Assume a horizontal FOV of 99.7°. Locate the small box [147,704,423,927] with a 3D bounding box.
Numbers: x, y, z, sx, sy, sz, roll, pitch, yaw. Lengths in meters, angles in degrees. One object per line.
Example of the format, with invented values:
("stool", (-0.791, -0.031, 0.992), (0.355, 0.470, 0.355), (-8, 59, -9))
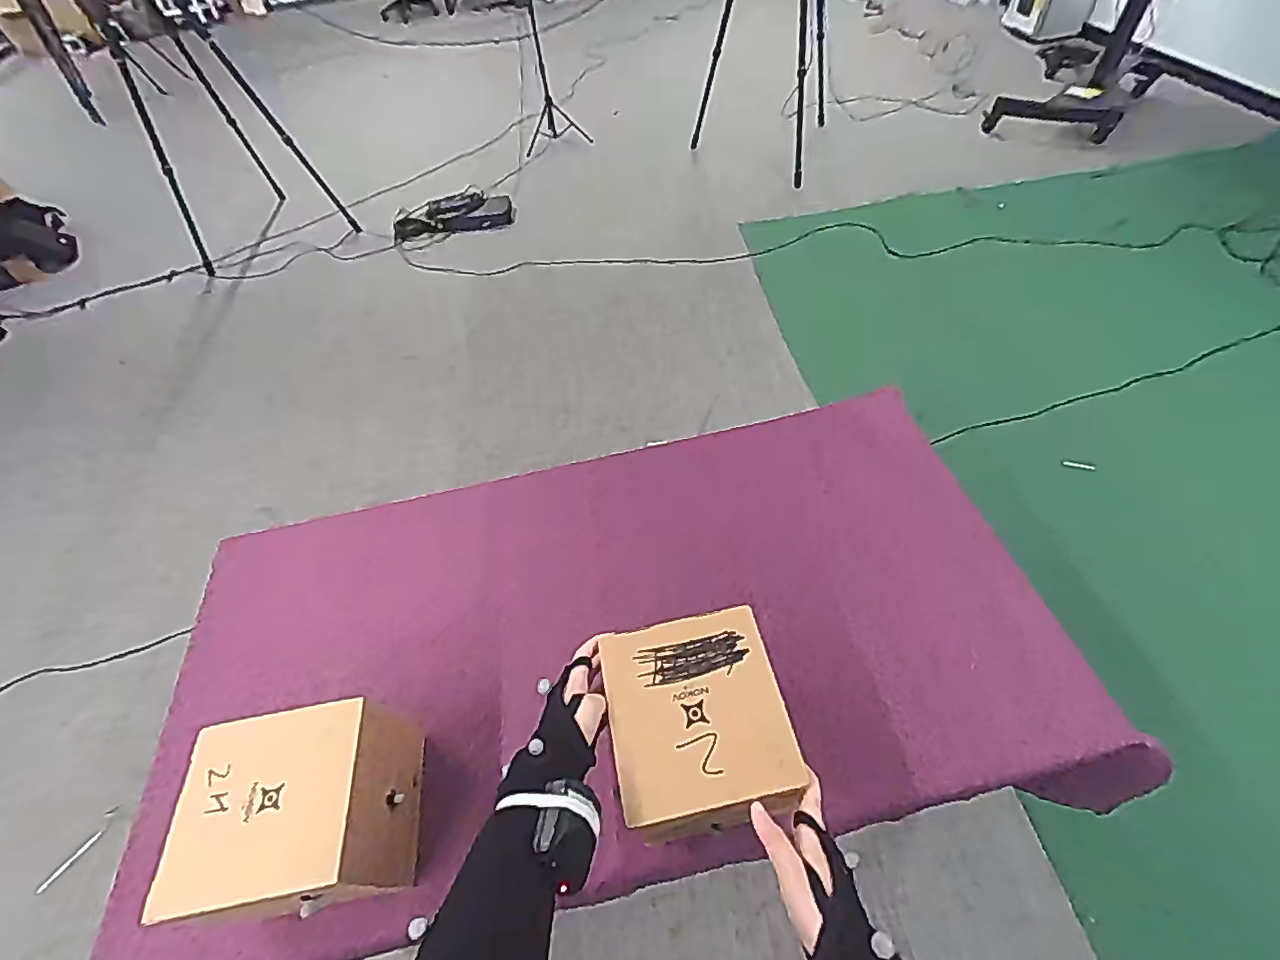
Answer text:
("small box", (-0.358, 0.366, 0.592), (0.179, 0.176, 0.168), (-11, 51, -1))
